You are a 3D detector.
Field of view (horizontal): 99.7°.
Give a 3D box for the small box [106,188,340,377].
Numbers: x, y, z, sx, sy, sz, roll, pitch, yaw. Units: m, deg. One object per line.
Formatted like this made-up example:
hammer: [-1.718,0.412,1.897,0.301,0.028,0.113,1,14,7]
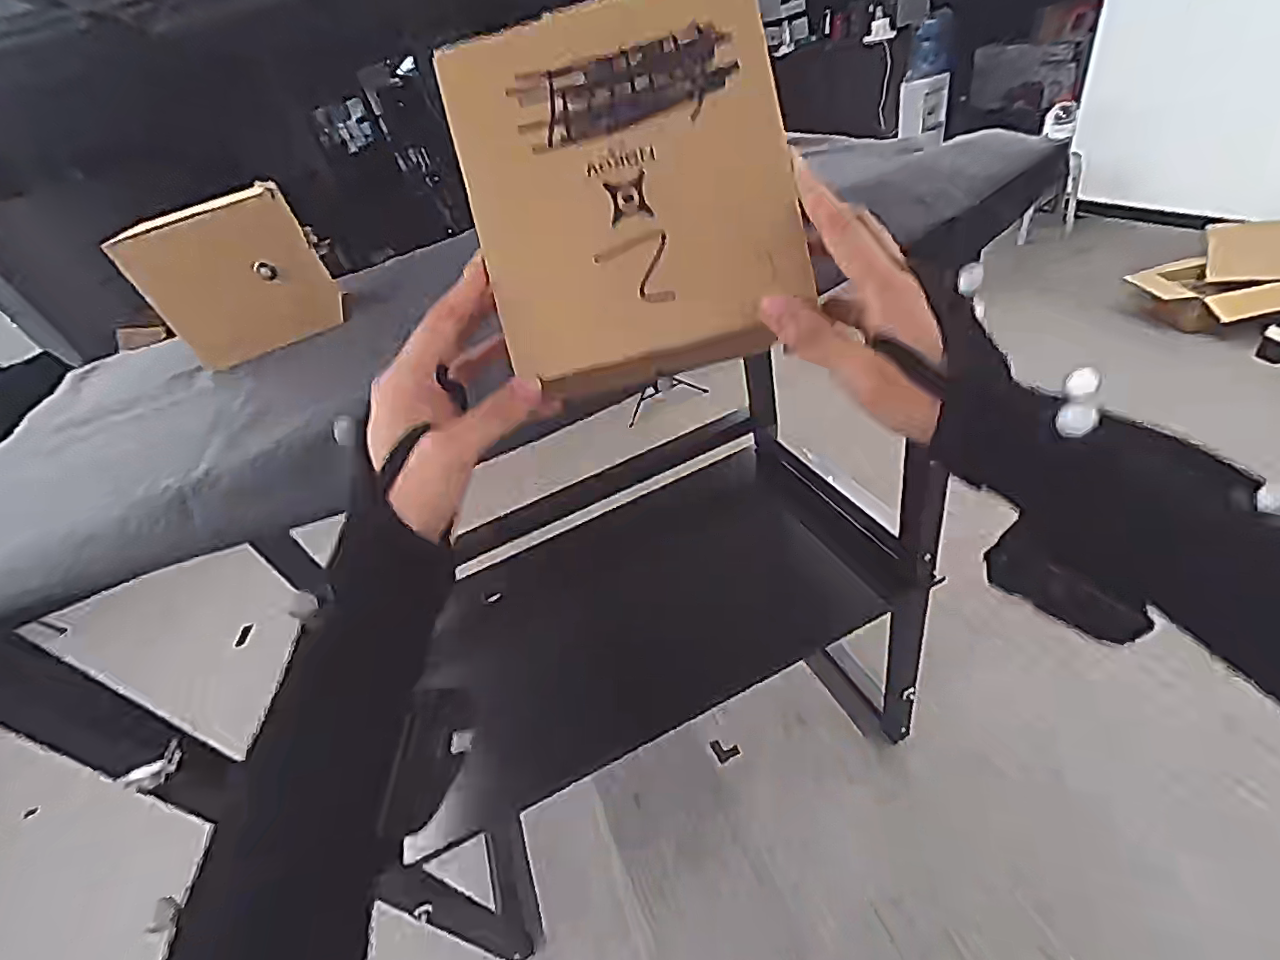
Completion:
small box: [-0.526,-0.264,0.719,0.179,0.176,0.168,-27,40,-12]
